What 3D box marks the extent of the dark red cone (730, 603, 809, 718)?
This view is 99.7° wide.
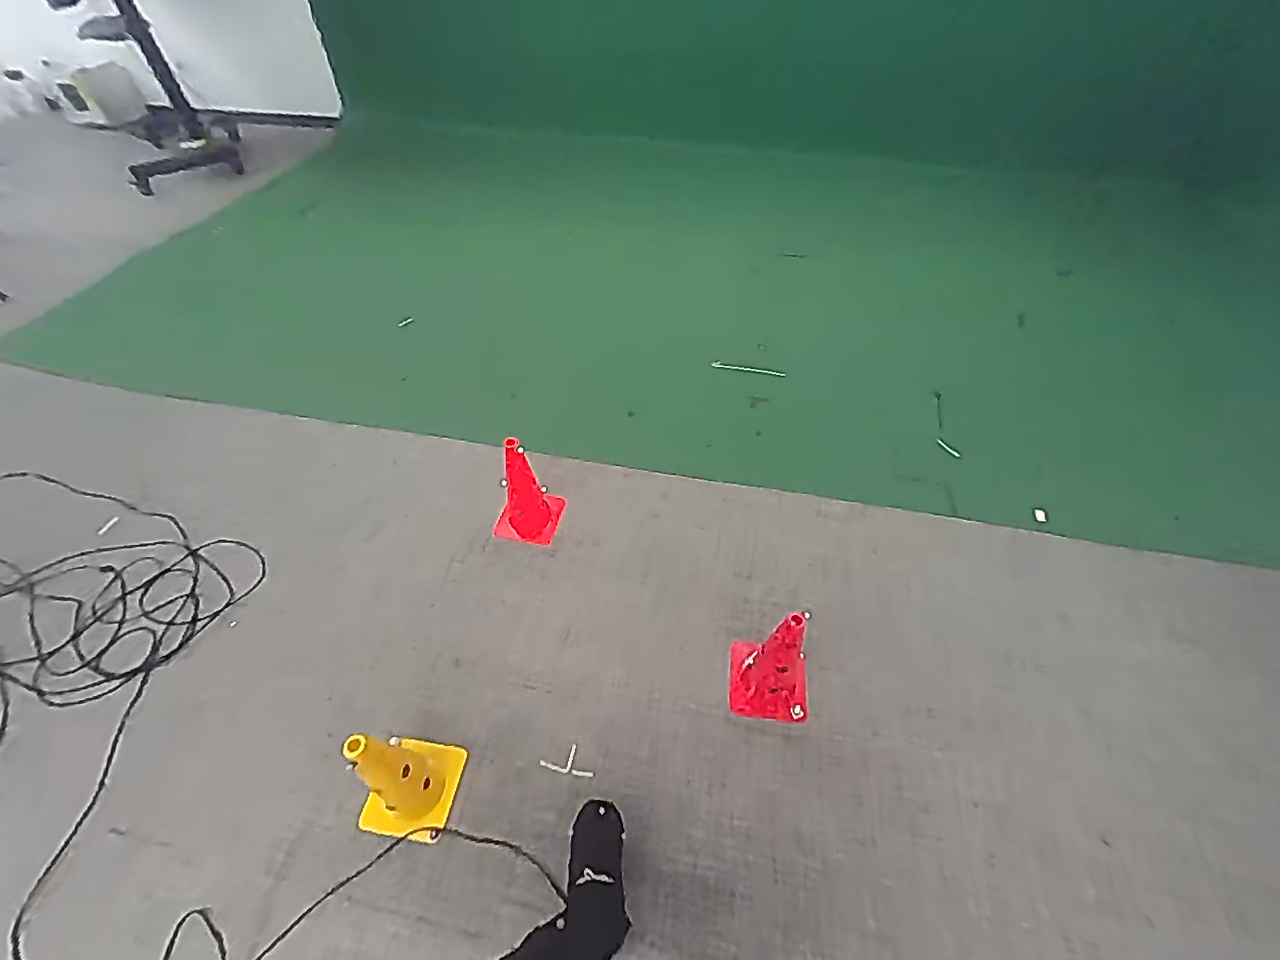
[{"bbox_3d":[0.337,0.409,1.300,0.202,0.394,0.201,5,48,5],"label":"dark red cone"}]

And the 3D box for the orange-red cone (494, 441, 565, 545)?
[{"bbox_3d":[-0.371,0.016,1.676,0.198,0.360,0.199,9,51,9],"label":"orange-red cone"}]
